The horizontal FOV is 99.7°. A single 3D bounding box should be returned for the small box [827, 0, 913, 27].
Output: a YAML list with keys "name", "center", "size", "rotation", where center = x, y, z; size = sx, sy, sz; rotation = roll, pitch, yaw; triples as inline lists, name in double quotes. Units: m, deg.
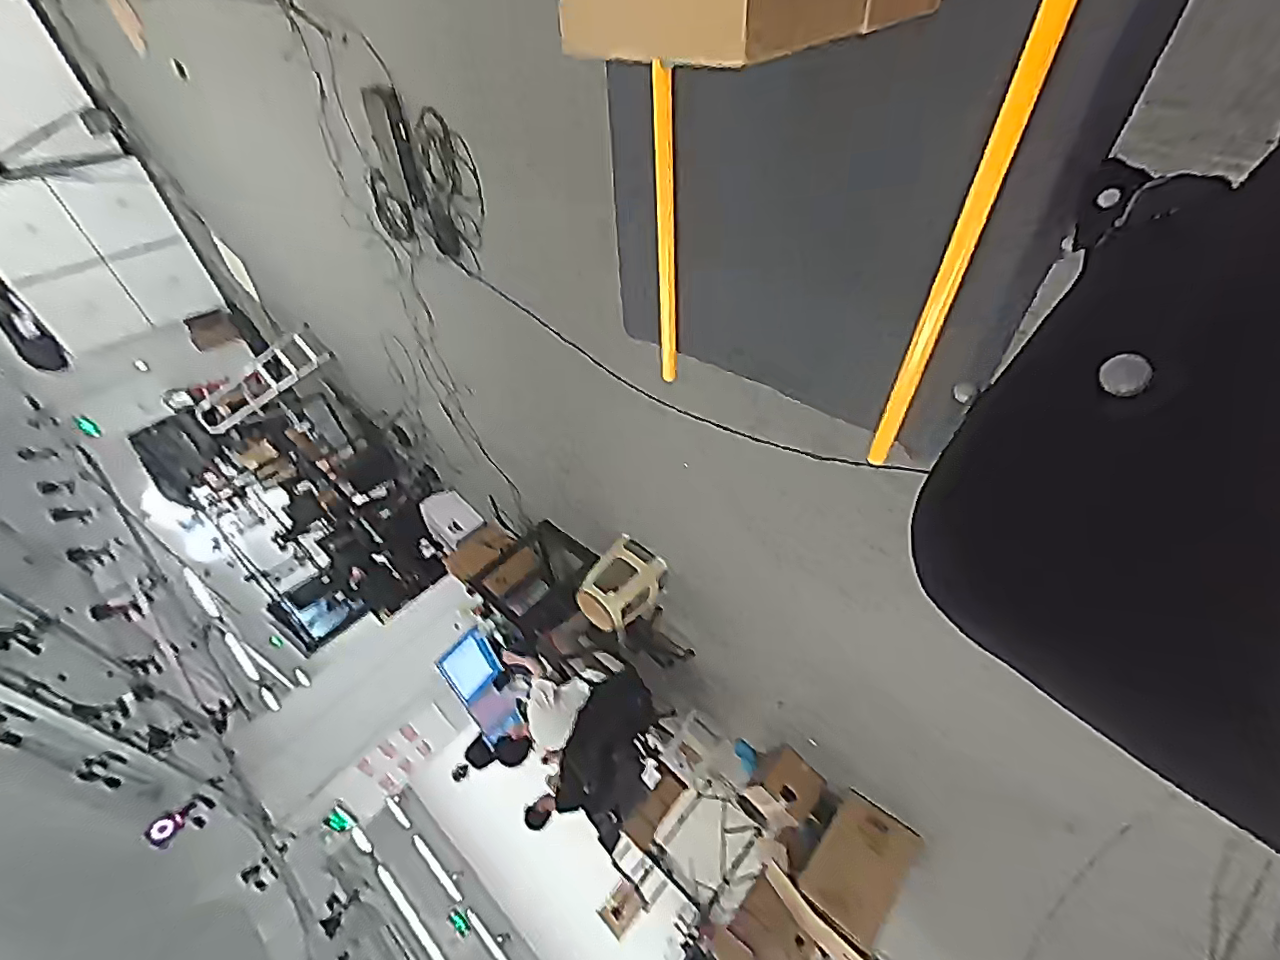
- name: "small box"
  center: [0.159, -0.508, 0.466]
  size: [0.179, 0.176, 0.168]
  rotation: [28, 145, 30]

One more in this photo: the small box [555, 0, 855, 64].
- name: "small box"
  center: [0.049, -0.417, 0.385]
  size: [0.179, 0.176, 0.168]
  rotation: [30, 145, 30]
